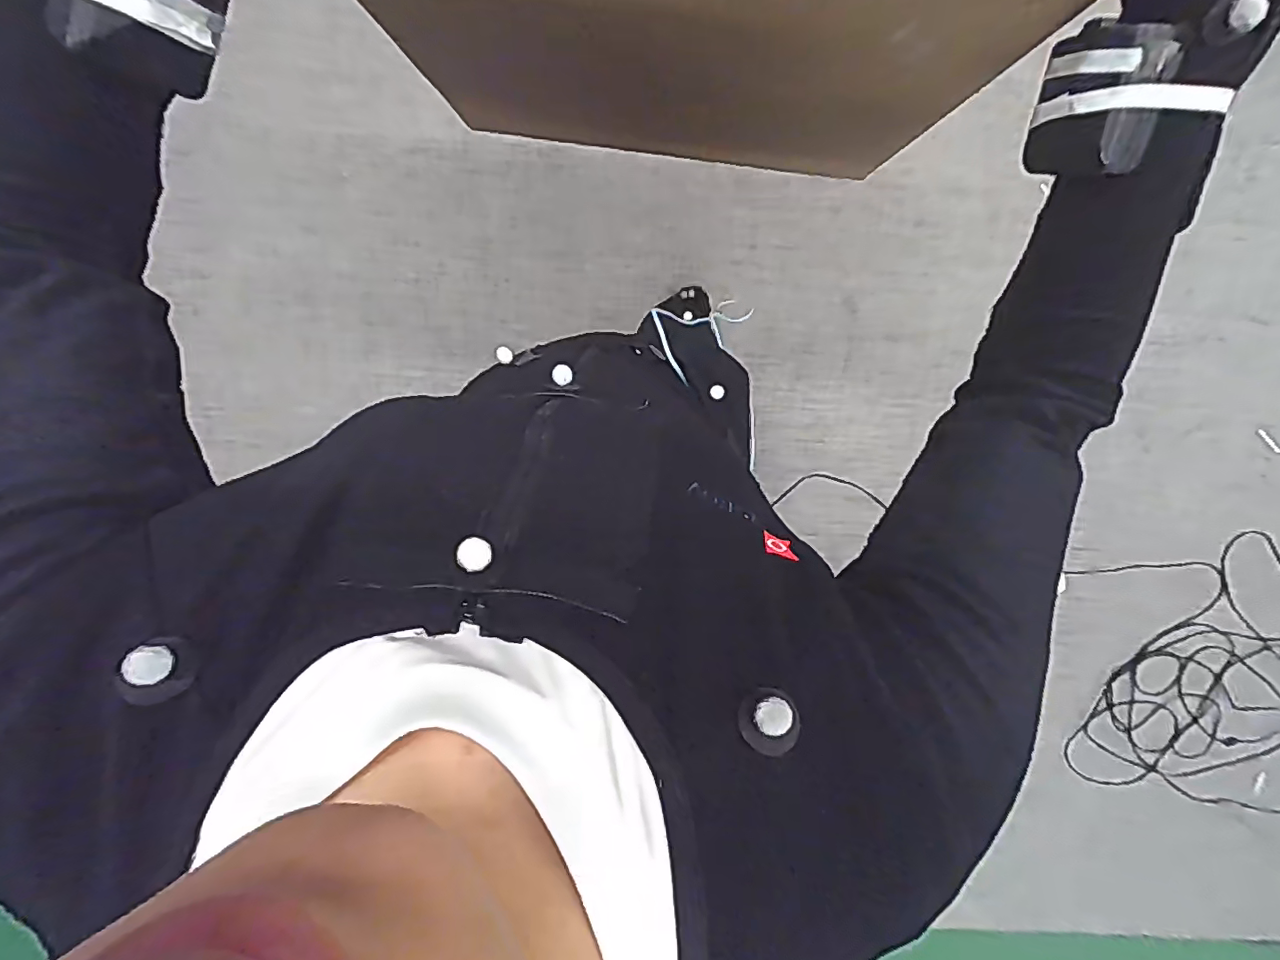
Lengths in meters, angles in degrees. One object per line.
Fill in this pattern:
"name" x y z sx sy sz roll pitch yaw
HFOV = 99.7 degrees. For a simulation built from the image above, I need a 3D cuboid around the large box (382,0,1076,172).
"large box" 0.045 -0.441 0.370 0.408 0.320 0.320 6 105 -1
